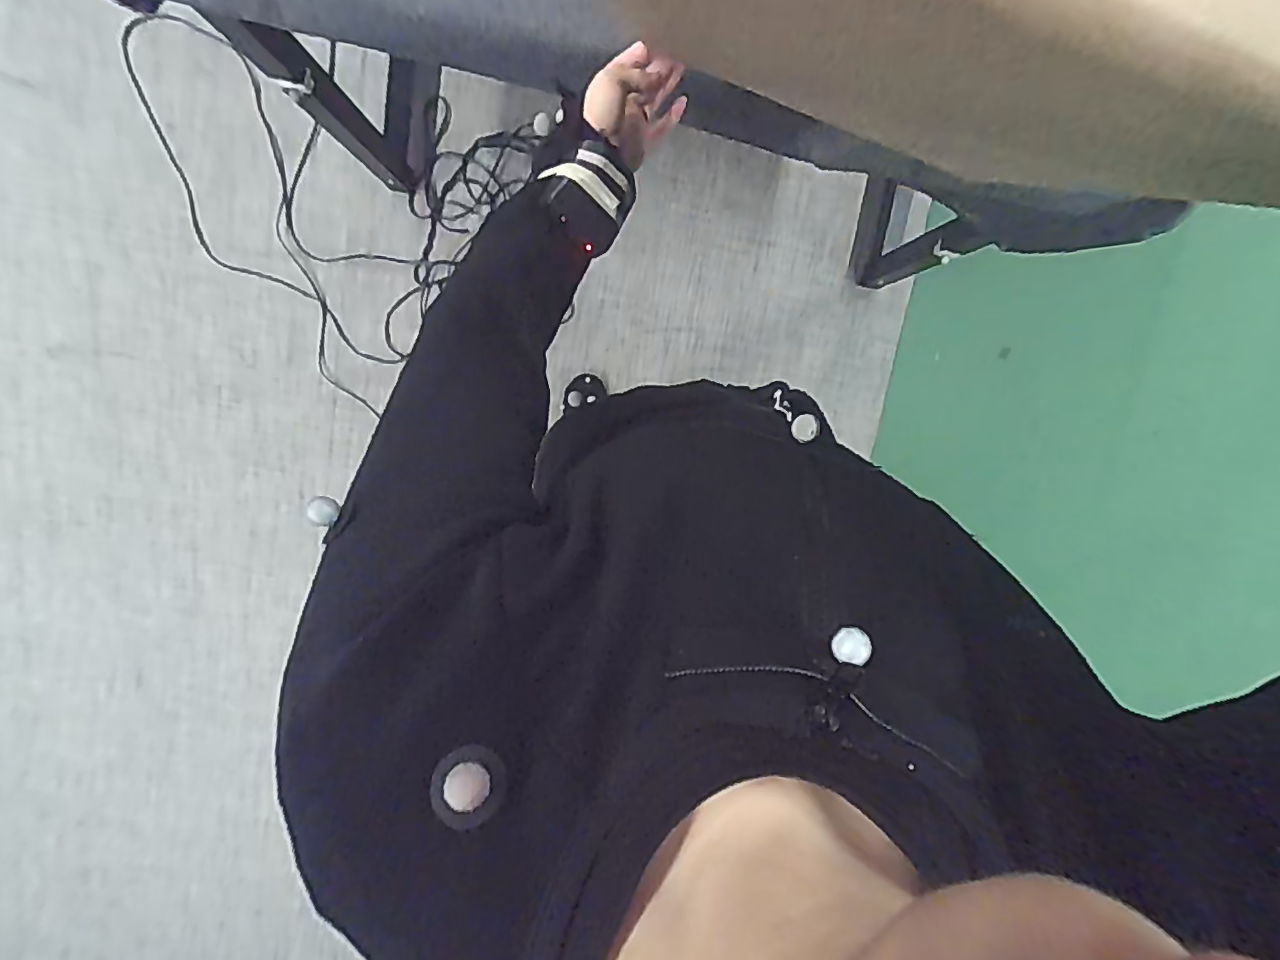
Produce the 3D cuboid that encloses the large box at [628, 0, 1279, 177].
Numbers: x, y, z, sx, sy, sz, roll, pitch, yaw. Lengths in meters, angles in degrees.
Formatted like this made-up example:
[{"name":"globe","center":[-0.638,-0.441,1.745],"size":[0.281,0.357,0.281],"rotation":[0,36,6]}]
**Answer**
[{"name":"large box","center":[0.167,-0.358,0.231],"size":[0.320,0.408,0.320],"rotation":[18,122,-5]}]
